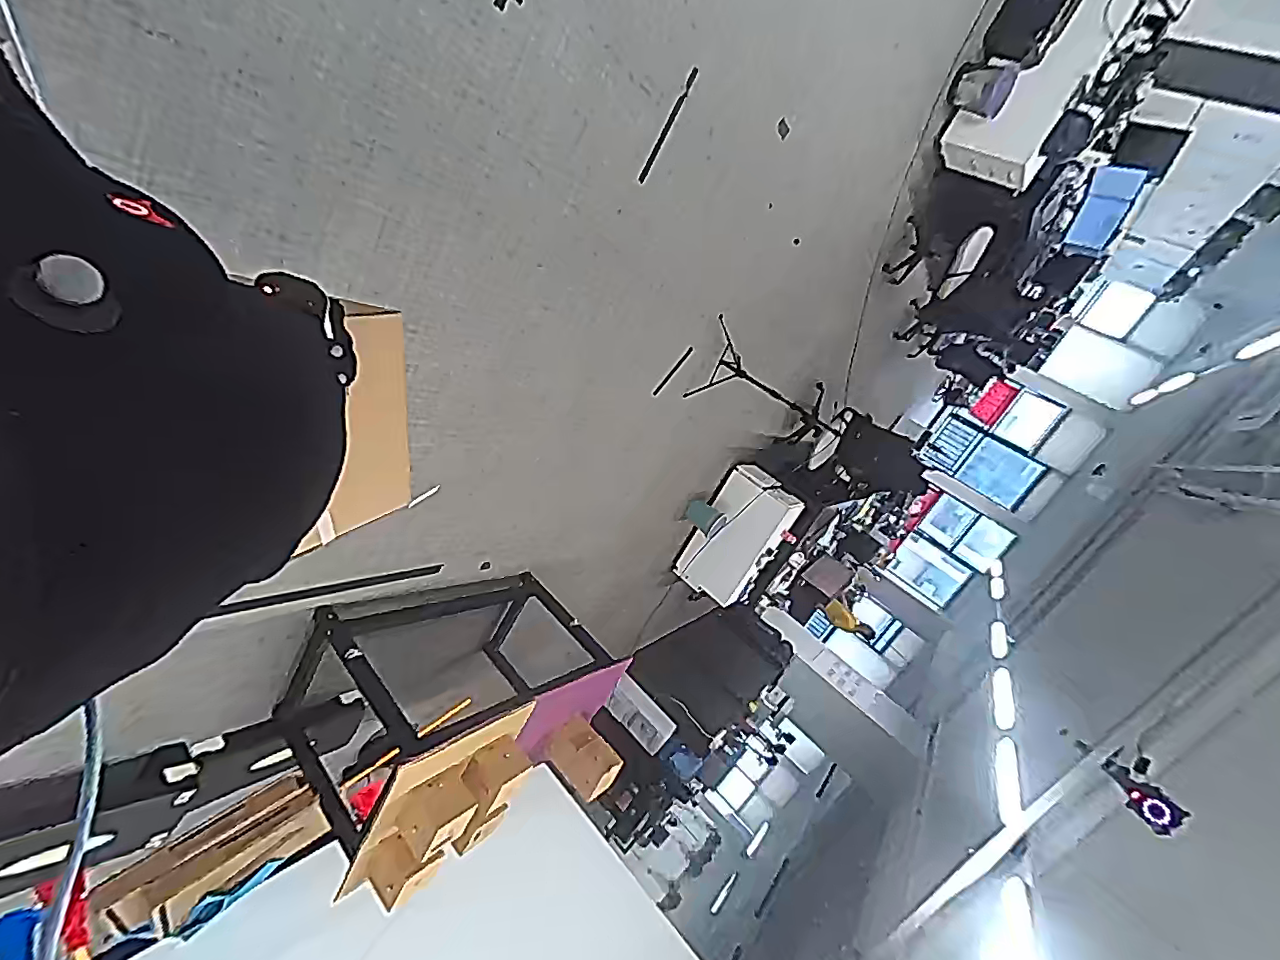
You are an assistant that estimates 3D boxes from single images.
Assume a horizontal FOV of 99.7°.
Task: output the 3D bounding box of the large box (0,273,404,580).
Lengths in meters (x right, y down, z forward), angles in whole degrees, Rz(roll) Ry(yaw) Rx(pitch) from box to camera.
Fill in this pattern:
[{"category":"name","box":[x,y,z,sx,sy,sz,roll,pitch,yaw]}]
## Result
[{"category":"large box","box":[-0.615,-0.106,0.775,0.320,0.408,0.320,-39,139,-59]}]
